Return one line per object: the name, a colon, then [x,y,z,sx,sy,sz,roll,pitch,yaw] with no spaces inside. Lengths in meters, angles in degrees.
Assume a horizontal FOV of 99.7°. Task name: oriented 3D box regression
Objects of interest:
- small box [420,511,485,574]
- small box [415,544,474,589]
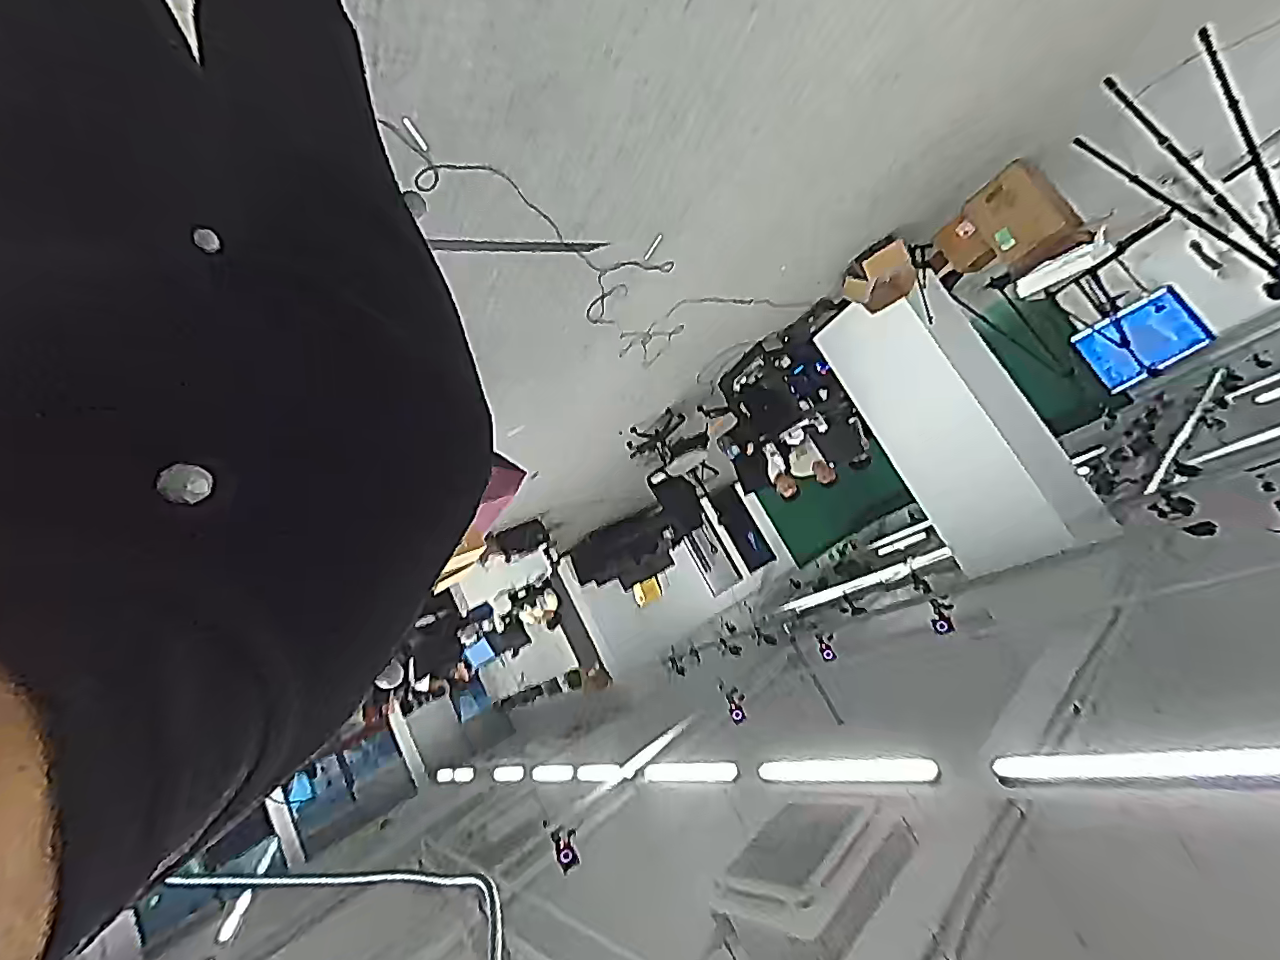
small box: [-0.745,0.242,2.141,0.179,0.176,0.168,-21,166,-37]
small box: [-0.847,0.343,2.336,0.179,0.176,0.168,-21,166,-35]
